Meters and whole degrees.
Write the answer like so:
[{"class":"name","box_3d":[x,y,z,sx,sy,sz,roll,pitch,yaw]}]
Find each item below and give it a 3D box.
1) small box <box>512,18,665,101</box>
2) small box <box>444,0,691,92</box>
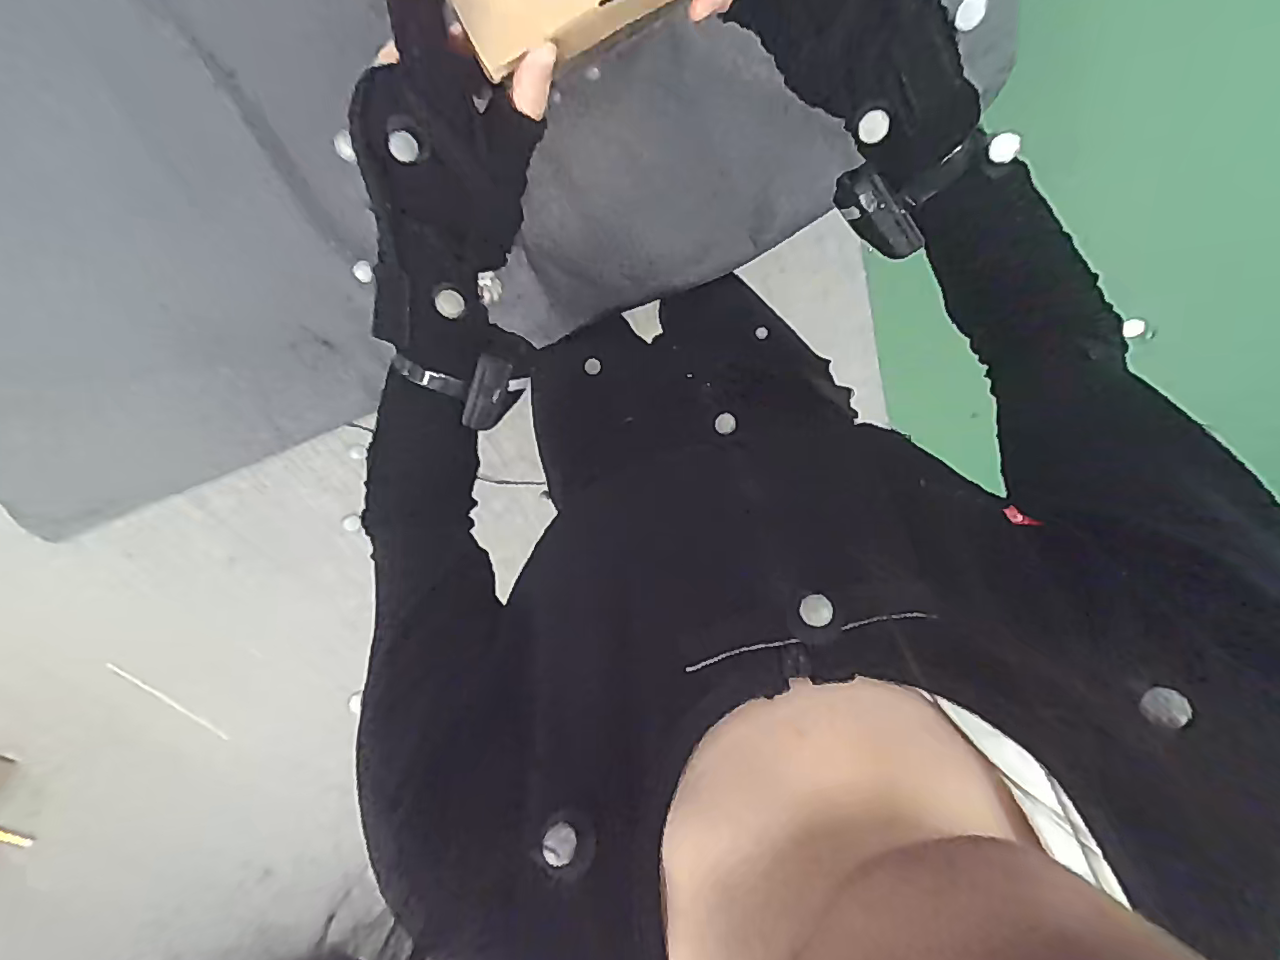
[{"class":"small box","box_3d":[-0.076,-0.431,0.419,0.168,0.176,0.179,-25,121,6]},{"class":"small box","box_3d":[-0.050,-0.338,0.286,0.168,0.176,0.179,-26,120,6]}]
